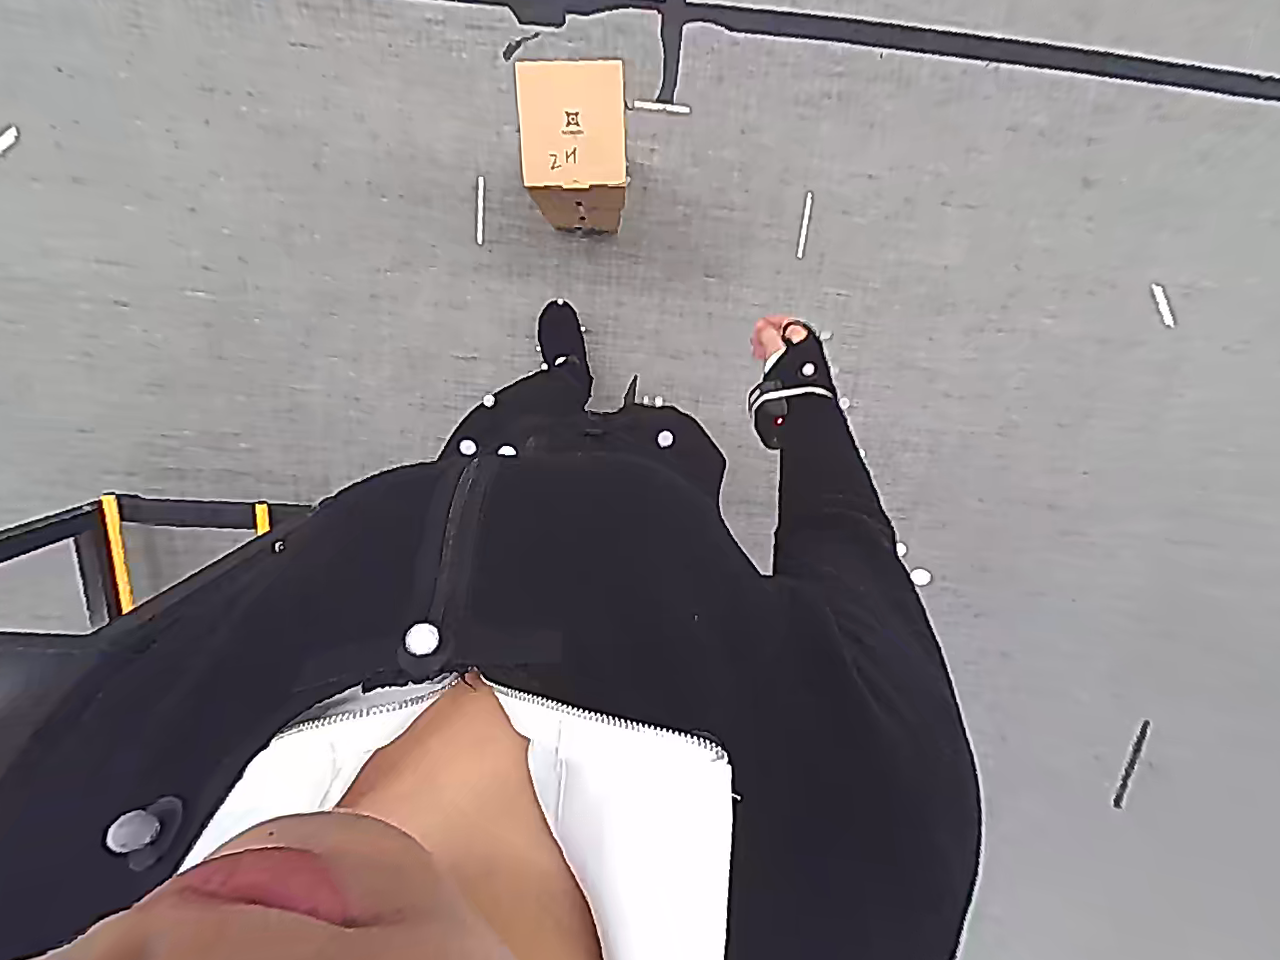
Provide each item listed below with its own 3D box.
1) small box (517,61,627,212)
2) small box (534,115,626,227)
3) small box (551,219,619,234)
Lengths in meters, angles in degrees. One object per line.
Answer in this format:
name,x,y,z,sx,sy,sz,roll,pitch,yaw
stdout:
small box,-0.108,-0.570,0.917,0.168,0.176,0.179,-2,105,-1
small box,-0.114,-0.615,1.077,0.168,0.176,0.179,3,105,-3
small box,-0.125,-0.674,1.231,0.168,0.176,0.179,3,106,-3
